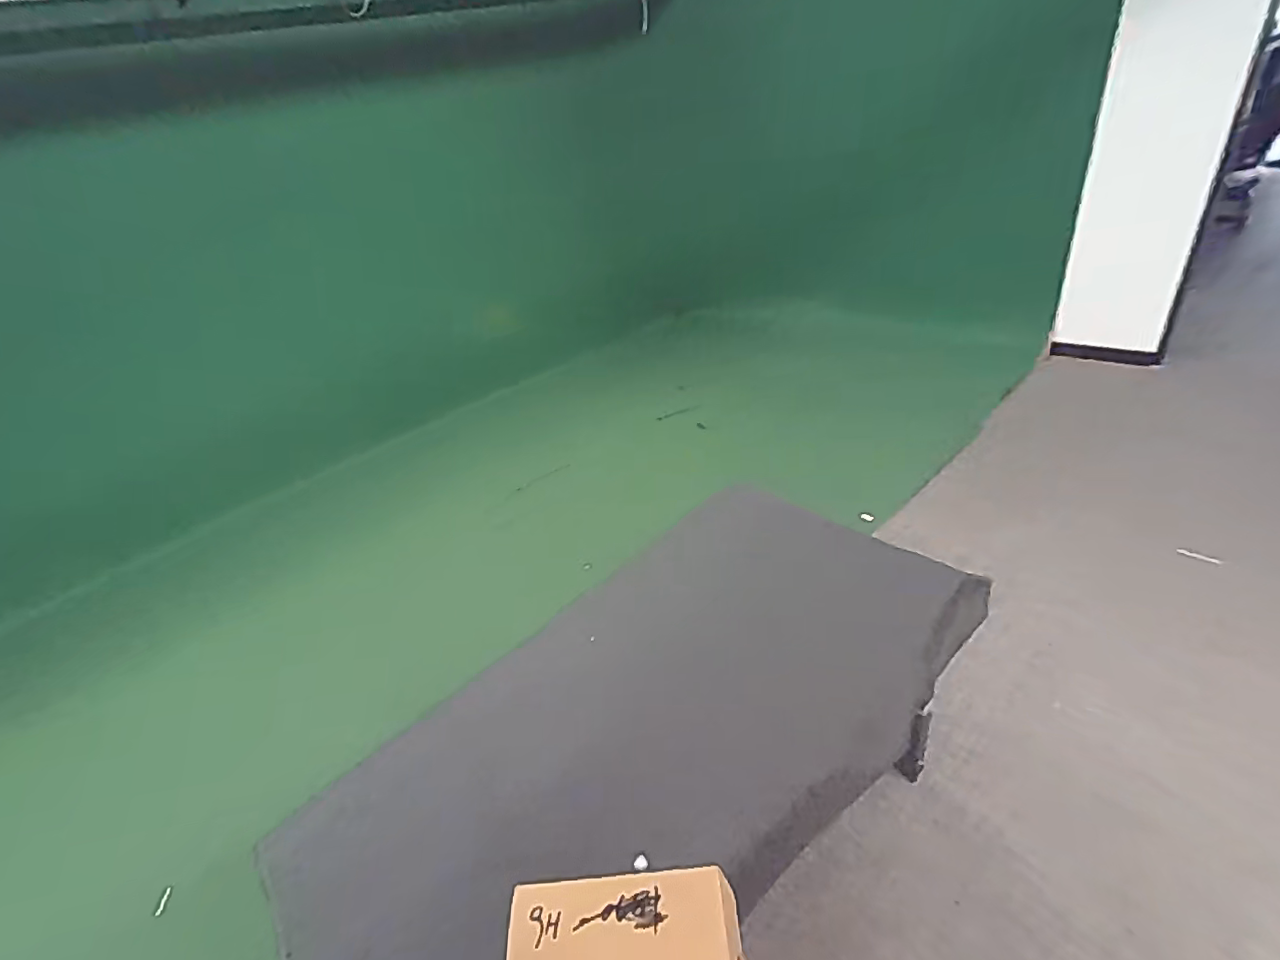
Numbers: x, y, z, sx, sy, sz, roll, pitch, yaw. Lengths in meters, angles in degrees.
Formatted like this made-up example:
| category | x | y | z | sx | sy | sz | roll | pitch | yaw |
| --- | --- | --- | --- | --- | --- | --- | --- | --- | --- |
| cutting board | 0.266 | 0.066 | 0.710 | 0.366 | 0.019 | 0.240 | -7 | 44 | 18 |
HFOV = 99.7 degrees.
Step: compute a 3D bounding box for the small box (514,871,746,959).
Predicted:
| category | x | y | z | sx | sy | sz | roll | pitch | yaw |
| --- | --- | --- | --- | --- | --- | --- | --- | --- | --- |
| small box | 0.004 | 0.423 | 0.416 | 0.168 | 0.176 | 0.179 | -9 | 47 | 4 |
